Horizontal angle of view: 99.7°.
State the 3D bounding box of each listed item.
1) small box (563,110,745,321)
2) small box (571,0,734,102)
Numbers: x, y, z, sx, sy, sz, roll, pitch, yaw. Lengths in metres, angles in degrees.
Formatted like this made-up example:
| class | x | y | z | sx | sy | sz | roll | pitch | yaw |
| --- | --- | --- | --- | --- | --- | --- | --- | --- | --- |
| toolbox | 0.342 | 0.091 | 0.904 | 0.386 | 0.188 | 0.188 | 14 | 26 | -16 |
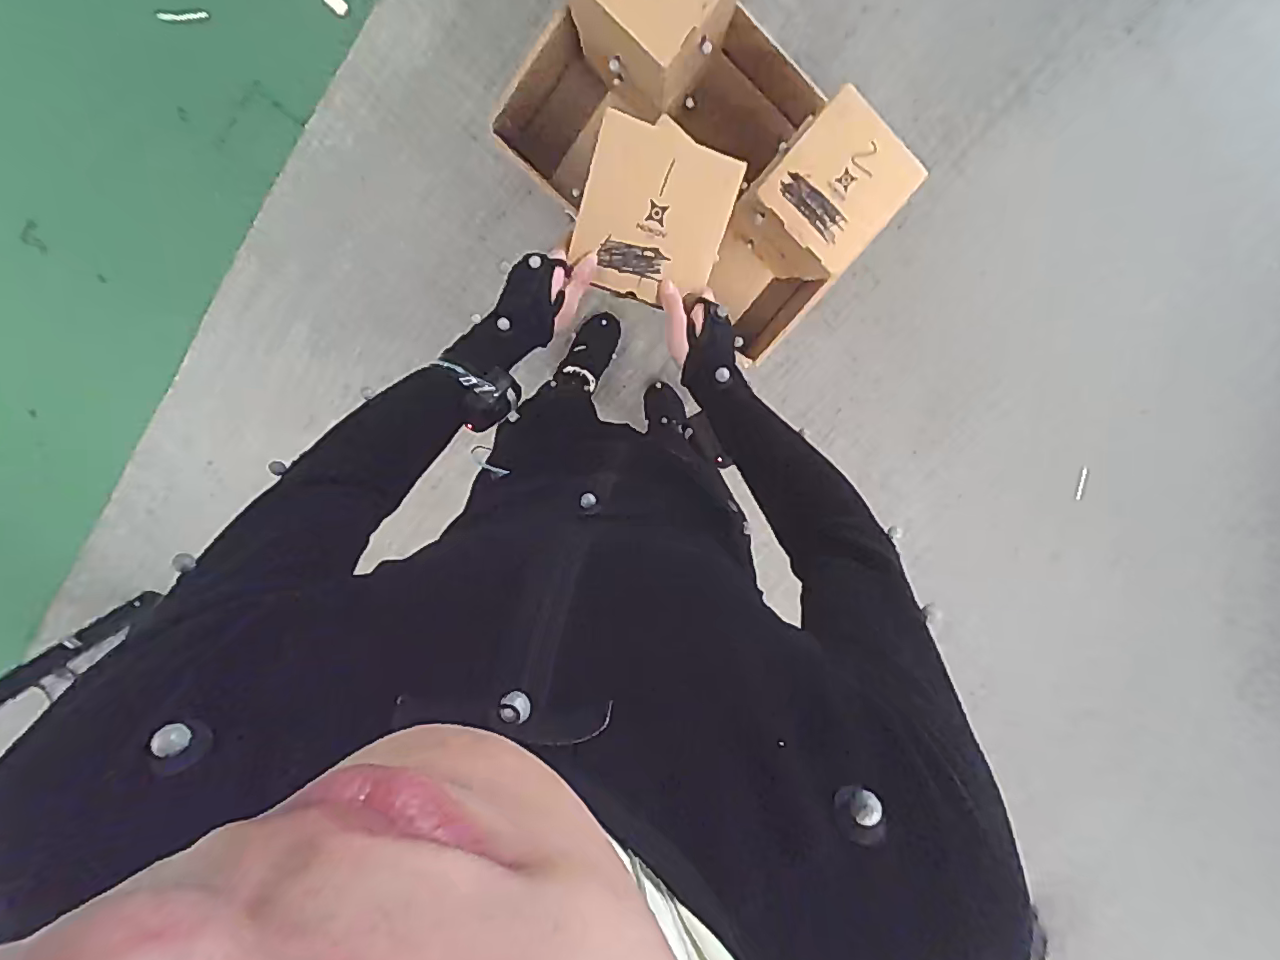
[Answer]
| class | x | y | z | sx | sy | sz | roll | pitch | yaw |
| --- | --- | --- | --- | --- | --- | --- | --- | --- | --- |
| small box | 0.006 | -0.316 | 0.677 | 0.168 | 0.176 | 0.179 | 14 | 109 | -13 |
| small box | 0.020 | -0.661 | 0.738 | 0.179 | 0.176 | 0.168 | 39 | 105 | -12 |
